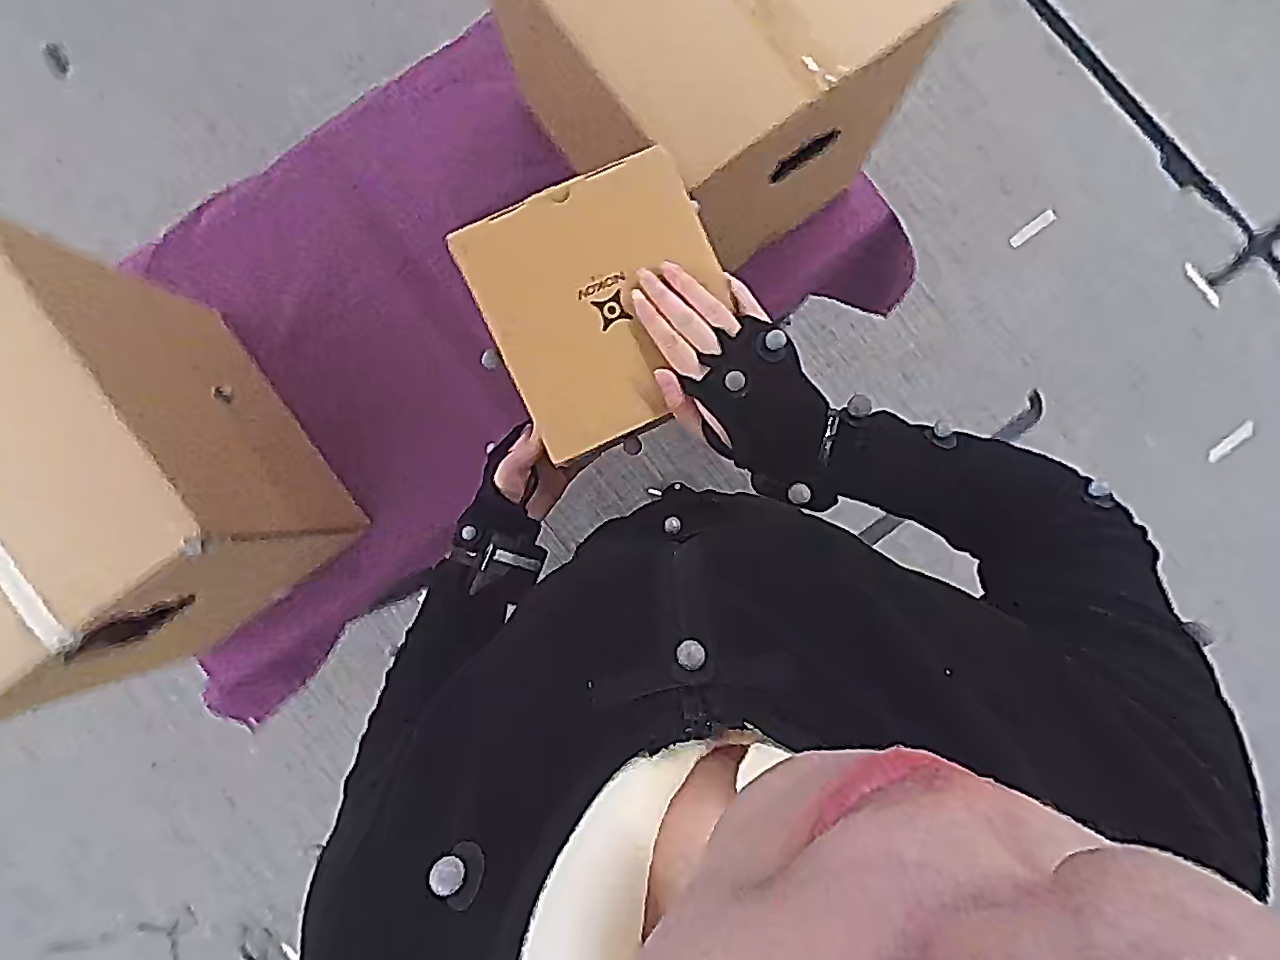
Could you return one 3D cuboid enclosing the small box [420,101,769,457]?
[{"bbox_3d":[-0.026,-0.138,0.413,0.179,0.176,0.168,-30,73,14],"label":"small box"}]
